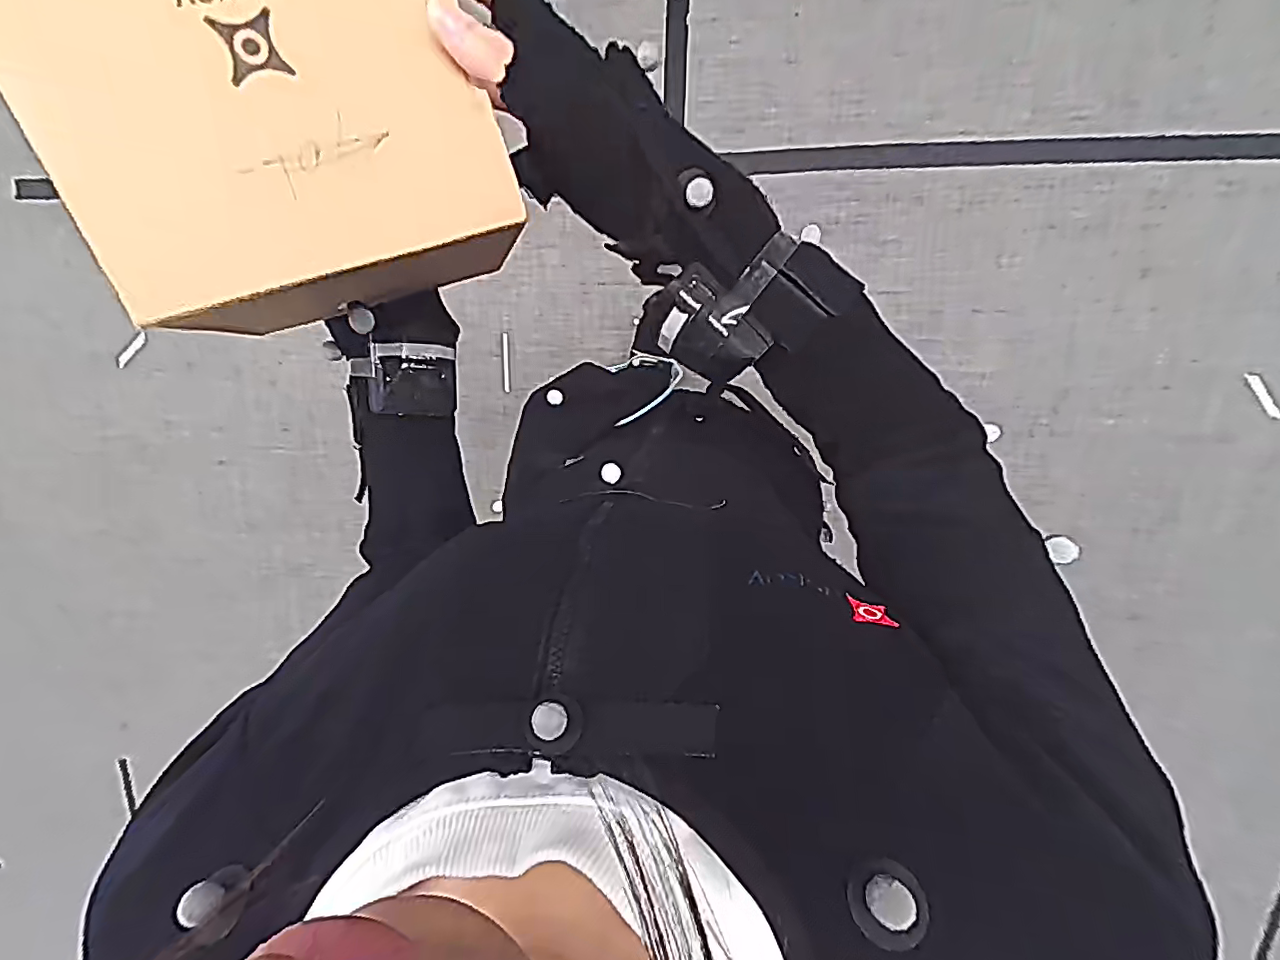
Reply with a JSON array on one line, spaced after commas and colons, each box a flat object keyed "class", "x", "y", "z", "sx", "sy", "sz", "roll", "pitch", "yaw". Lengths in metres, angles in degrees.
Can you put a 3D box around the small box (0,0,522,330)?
[{"class": "small box", "x": -0.179, "y": -0.191, "z": 0.295, "sx": 0.168, "sy": 0.176, "sz": 0.179, "roll": -21, "pitch": 108, "yaw": -12}]
